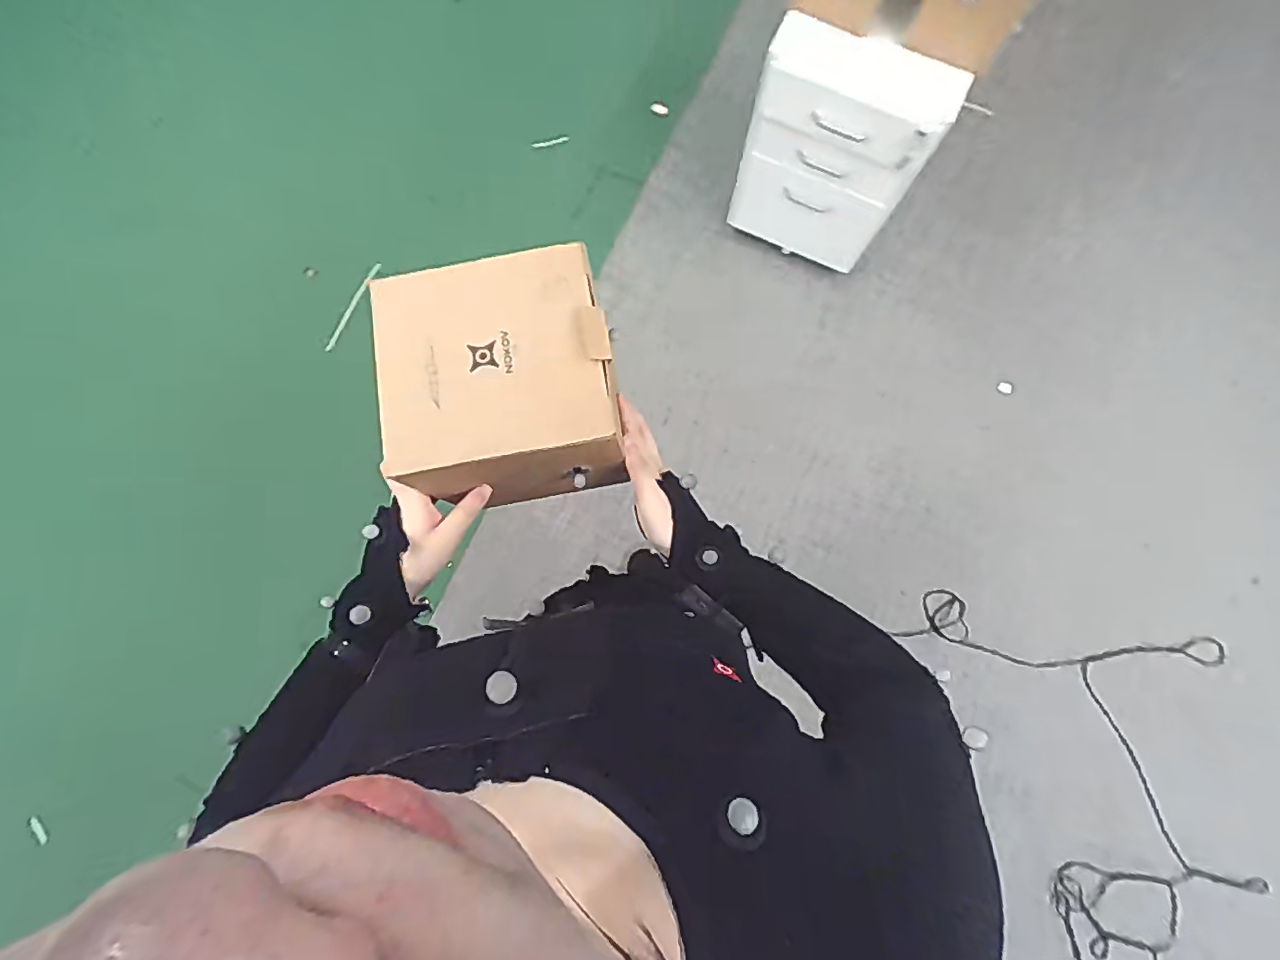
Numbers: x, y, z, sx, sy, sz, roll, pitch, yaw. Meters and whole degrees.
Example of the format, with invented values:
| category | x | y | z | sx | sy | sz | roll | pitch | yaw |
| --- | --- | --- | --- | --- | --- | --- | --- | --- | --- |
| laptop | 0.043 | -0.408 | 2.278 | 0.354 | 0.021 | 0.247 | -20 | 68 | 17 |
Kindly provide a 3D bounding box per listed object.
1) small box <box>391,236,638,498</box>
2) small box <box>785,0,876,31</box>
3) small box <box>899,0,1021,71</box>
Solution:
| category | x | y | z | sx | sy | sz | roll | pitch | yaw |
| --- | --- | --- | --- | --- | --- | --- | --- | --- | --- |
| small box | -0.098 | -0.087 | 0.495 | 0.179 | 0.176 | 0.168 | -10 | 77 | 2 |
| small box | 0.406 | -1.034 | 1.051 | 0.179 | 0.176 | 0.168 | 26 | 82 | 3 |
| small box | 0.635 | -0.942 | 1.037 | 0.179 | 0.176 | 0.168 | 25 | 81 | 4 |
